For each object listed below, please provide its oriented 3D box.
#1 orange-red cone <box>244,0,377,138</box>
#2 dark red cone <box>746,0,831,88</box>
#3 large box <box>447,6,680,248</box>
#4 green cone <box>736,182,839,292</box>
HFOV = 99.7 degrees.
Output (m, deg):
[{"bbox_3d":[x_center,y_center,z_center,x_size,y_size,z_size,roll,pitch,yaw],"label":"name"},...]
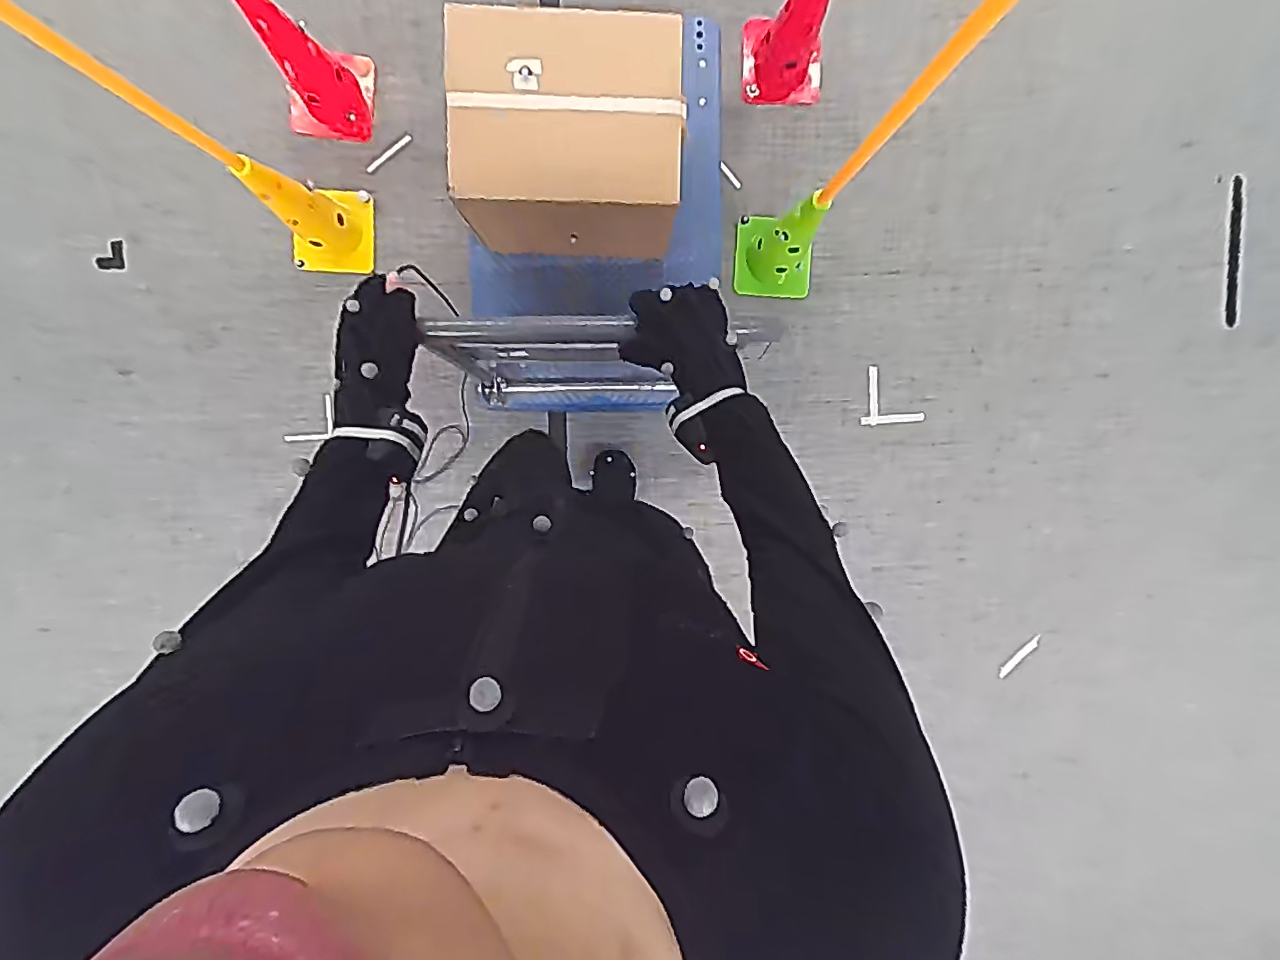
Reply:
[{"bbox_3d":[-0.755,-0.956,1.180,0.198,0.360,0.199,6,94,-3],"label":"orange-red cone"},{"bbox_3d":[0.374,-1.064,1.181,0.201,0.394,0.202,-1,96,-3],"label":"dark red cone"},{"bbox_3d":[-0.130,-0.666,1.079,0.408,0.320,0.320,1,96,-1],"label":"large box"},{"bbox_3d":[0.362,-0.583,1.246,0.202,0.368,0.200,3,96,-3],"label":"green cone"}]
